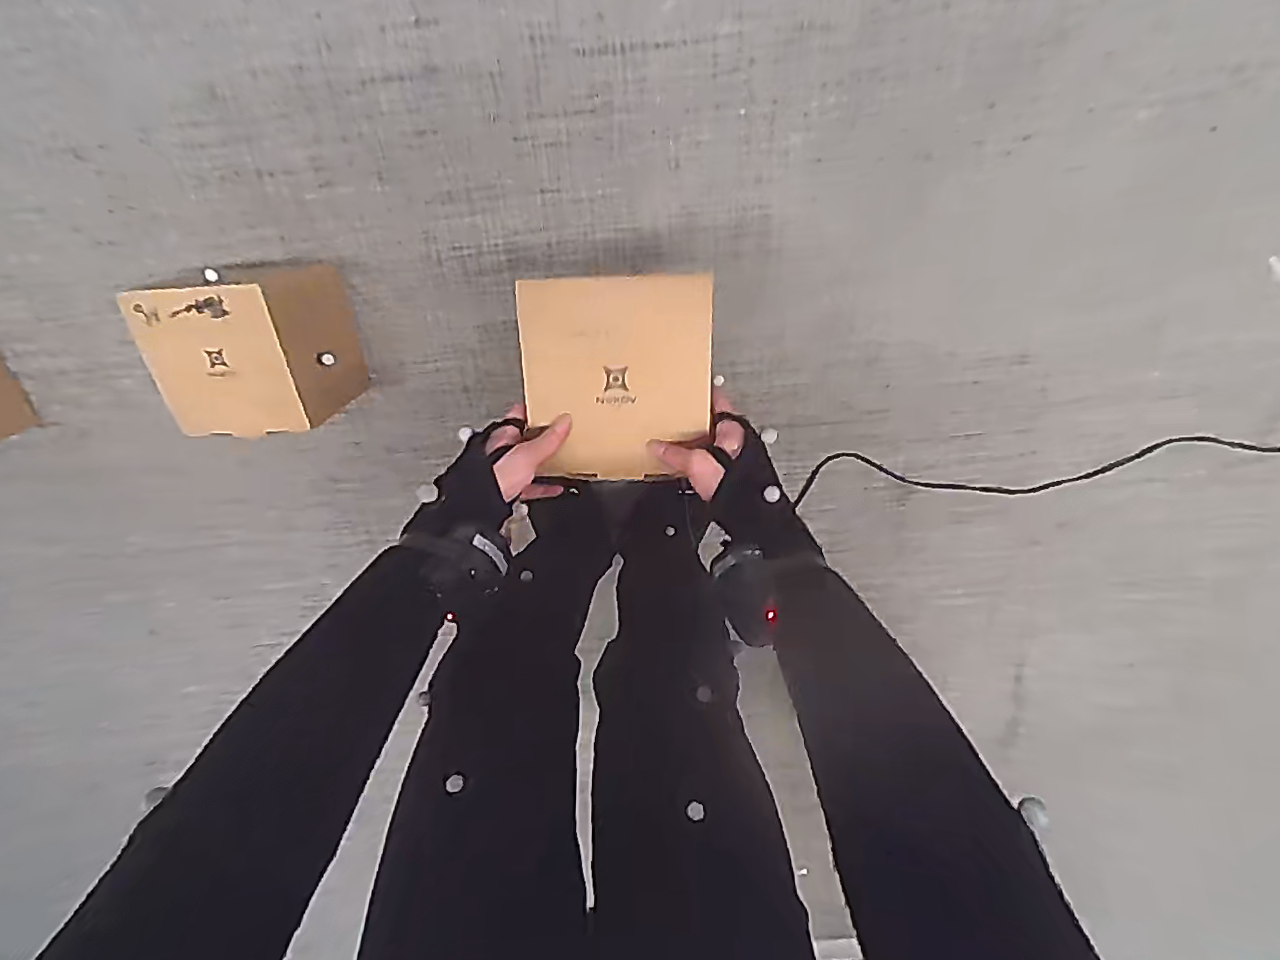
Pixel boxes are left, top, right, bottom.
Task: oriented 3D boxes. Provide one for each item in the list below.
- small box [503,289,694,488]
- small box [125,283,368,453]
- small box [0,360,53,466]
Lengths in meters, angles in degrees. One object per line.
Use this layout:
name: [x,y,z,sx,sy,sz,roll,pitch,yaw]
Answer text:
small box: [-0.028,-0.103,0.564,0.168,0.176,0.179,-3,108,5]
small box: [-0.493,-0.152,0.715,0.168,0.176,0.179,-3,119,3]
small box: [-1.012,-0.091,0.750,0.168,0.176,0.179,-5,119,4]
